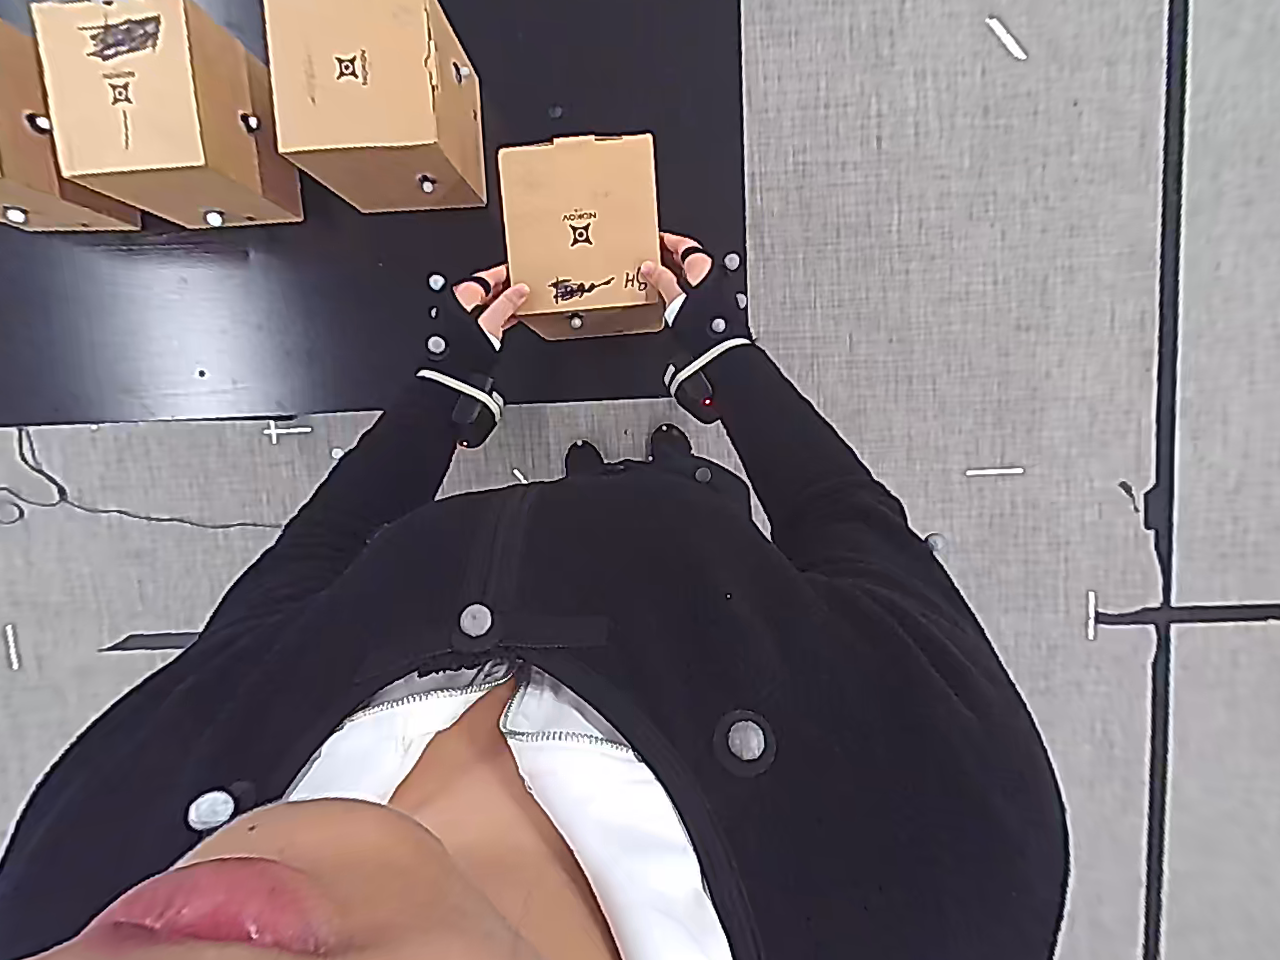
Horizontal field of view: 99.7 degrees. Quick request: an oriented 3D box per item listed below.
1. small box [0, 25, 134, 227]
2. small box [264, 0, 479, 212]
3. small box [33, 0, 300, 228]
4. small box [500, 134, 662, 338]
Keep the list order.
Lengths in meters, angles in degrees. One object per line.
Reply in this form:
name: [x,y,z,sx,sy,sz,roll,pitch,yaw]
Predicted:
small box: [-0.774,-0.425,0.662,0.168,0.176,0.179,0,96,1]
small box: [-0.302,-0.440,0.649,0.179,0.176,0.168,-2,94,3]
small box: [-0.550,-0.428,0.655,0.168,0.176,0.179,-4,97,1]
small box: [-0.061,-0.279,0.656,0.168,0.176,0.179,-4,96,3]
